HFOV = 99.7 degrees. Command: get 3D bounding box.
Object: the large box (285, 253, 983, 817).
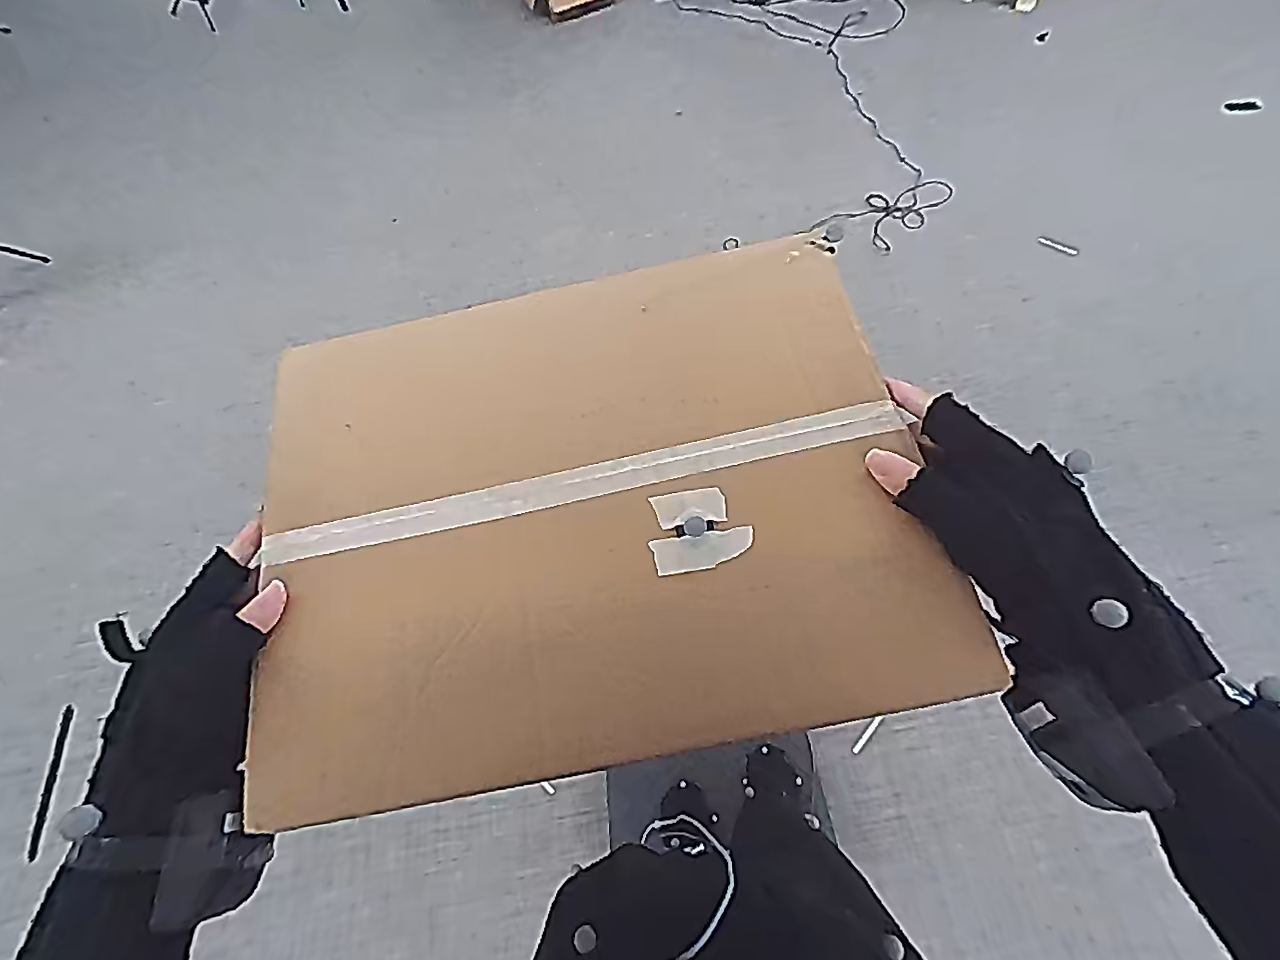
[{"bbox_3d":[-0.019,0.064,0.490,0.408,0.320,0.320,-12,68,1],"label":"large box"}]
